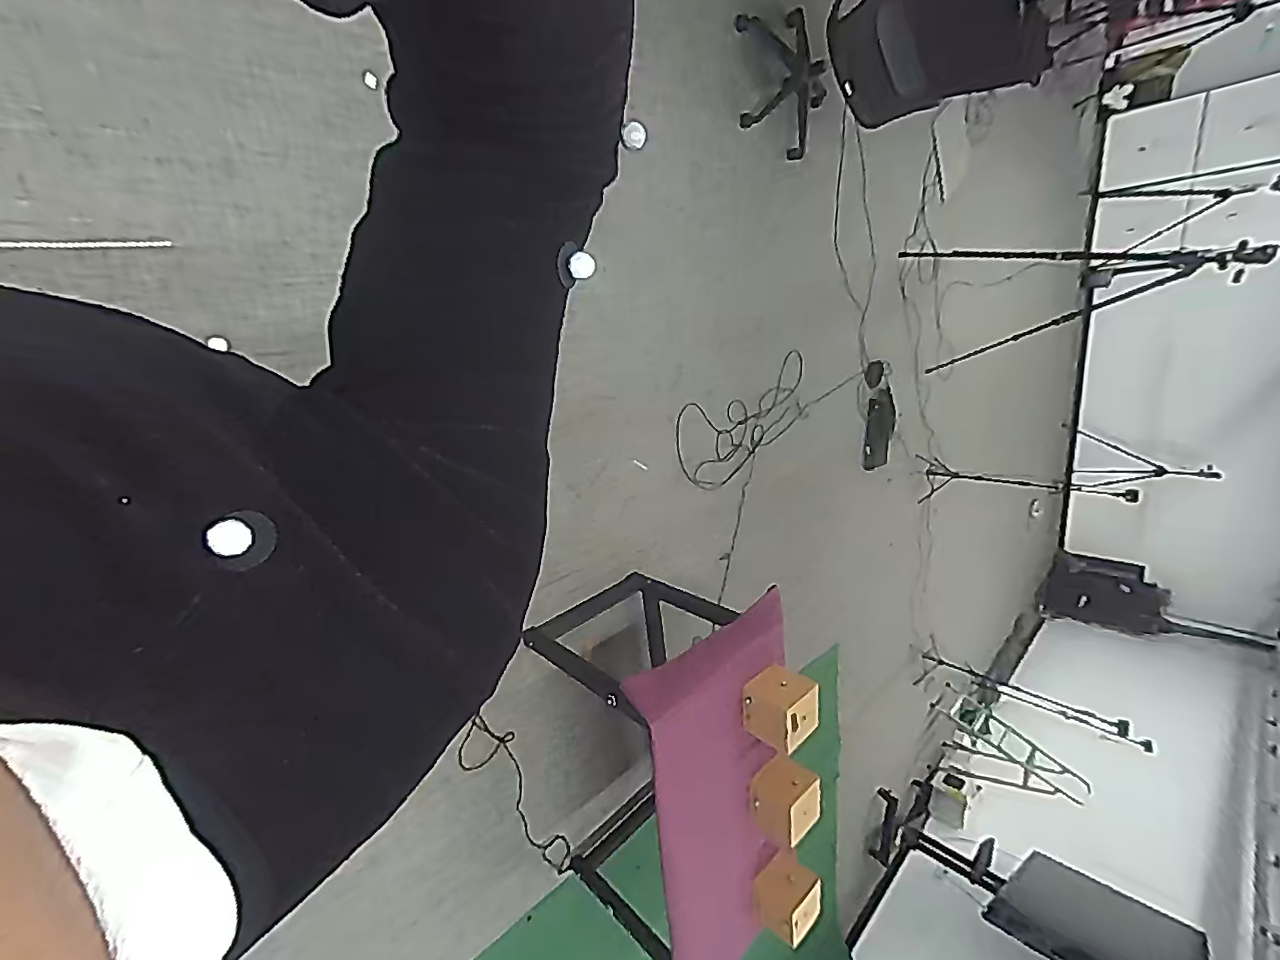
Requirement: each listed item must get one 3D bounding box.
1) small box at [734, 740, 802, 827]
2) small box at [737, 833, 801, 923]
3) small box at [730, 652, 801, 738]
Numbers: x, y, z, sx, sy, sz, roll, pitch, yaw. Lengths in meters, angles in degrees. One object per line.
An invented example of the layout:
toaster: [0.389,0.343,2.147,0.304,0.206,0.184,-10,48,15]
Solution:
small box: [0.448,1.052,1.893,0.179,0.176,0.168,-17,110,-40]
small box: [0.480,1.471,2.013,0.179,0.176,0.168,-20,111,-40]
small box: [0.409,0.697,1.770,0.179,0.176,0.168,-19,113,-40]
